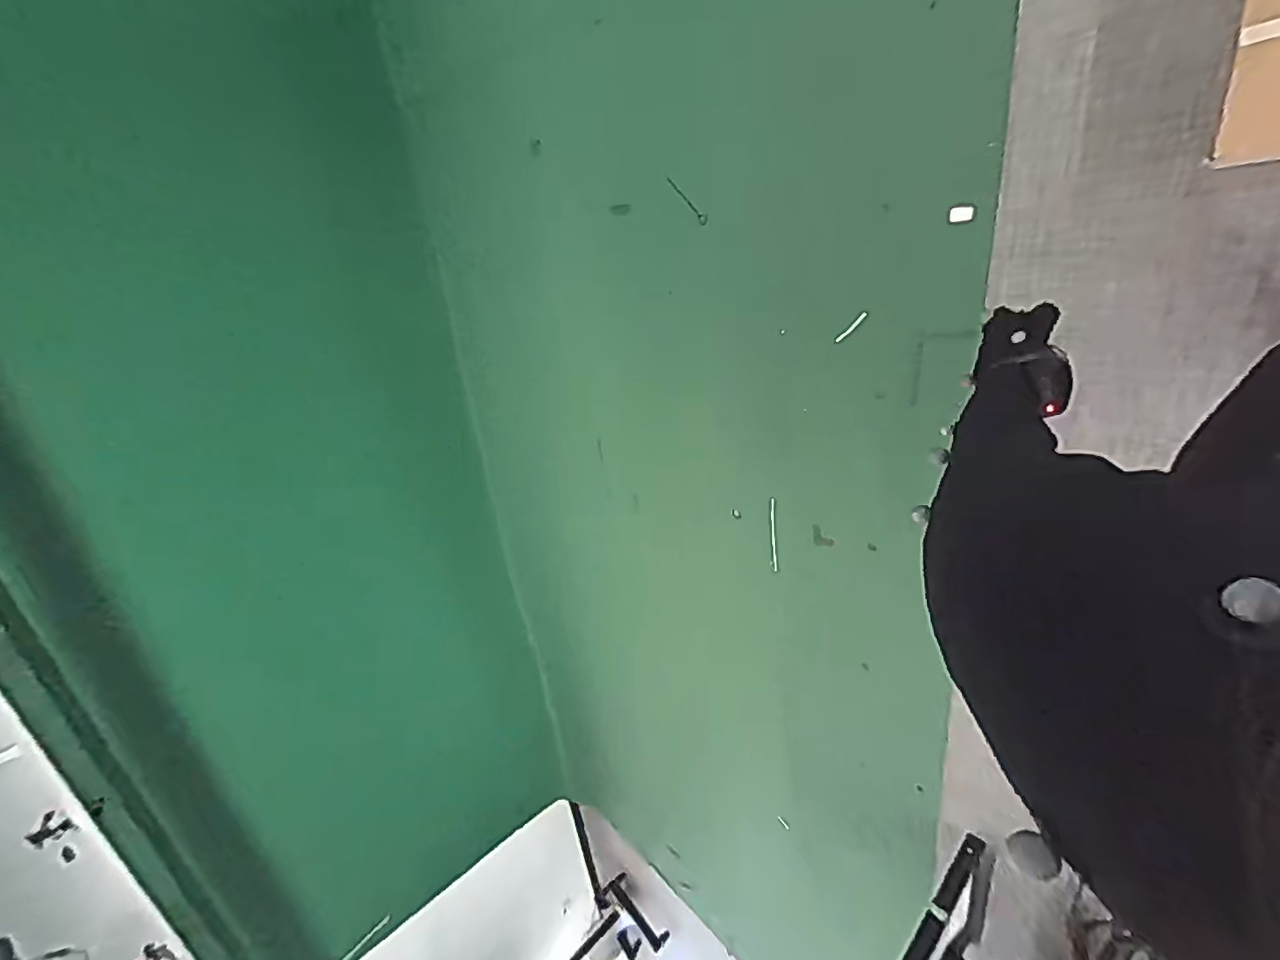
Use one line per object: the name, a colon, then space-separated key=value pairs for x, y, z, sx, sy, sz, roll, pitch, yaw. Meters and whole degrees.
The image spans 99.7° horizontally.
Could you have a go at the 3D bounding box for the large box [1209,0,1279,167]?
large box: x=1.043 y=-0.607 z=0.666 sx=0.408 sy=0.320 sz=0.320 roll=17 pitch=122 yaw=47
